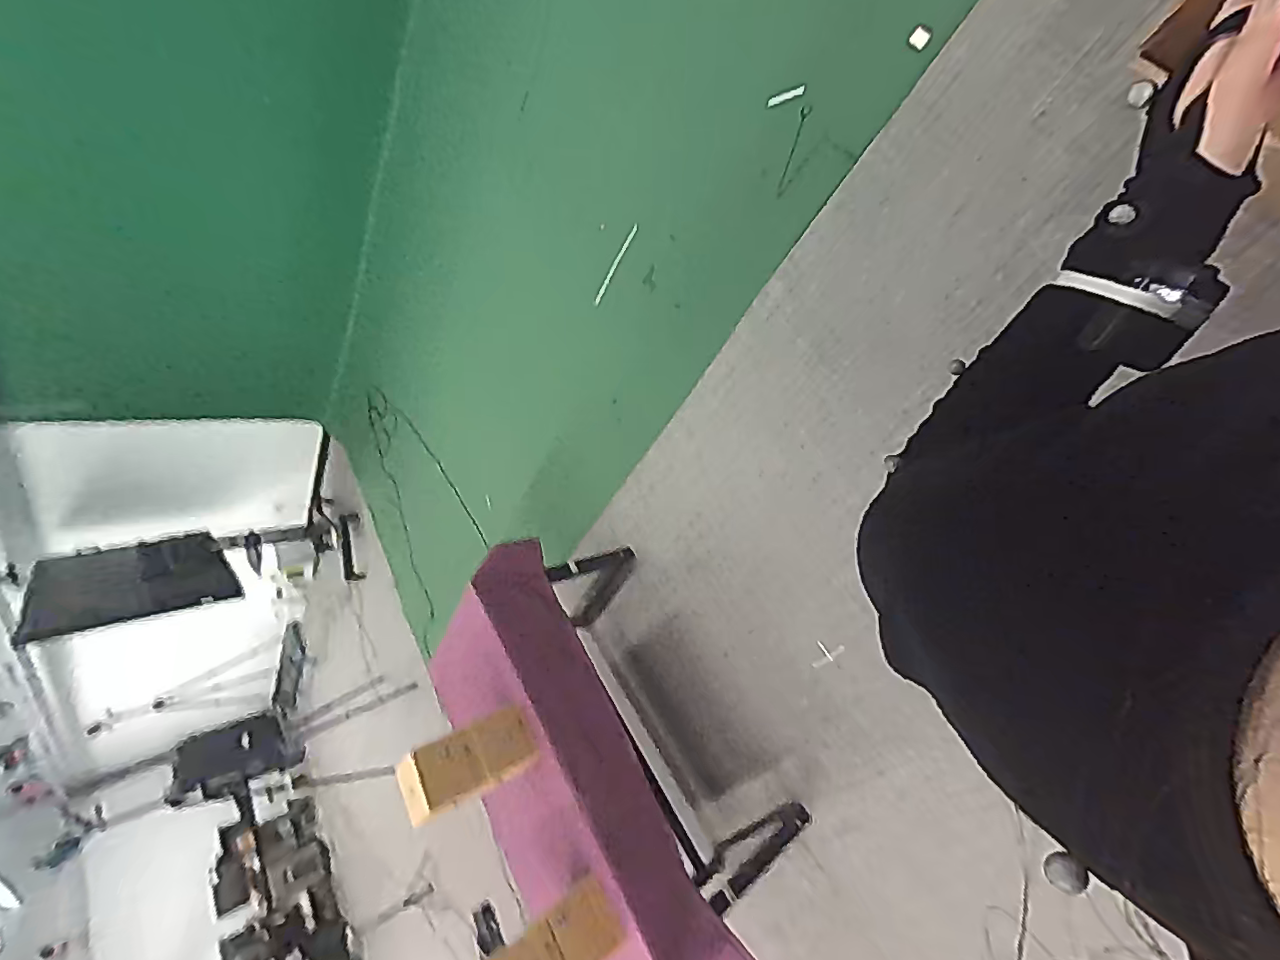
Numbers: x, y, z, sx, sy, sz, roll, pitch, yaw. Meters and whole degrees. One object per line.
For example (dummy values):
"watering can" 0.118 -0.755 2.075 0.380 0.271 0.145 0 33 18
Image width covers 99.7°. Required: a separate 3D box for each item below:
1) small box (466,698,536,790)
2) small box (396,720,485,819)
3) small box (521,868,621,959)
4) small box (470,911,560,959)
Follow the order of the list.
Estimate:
"small box" -0.432 0.783 1.618 0.168 0.176 0.179 56 131 26
"small box" -0.553 0.800 1.508 0.179 0.176 0.168 -52 59 37
"small box" -0.177 1.158 1.399 0.179 0.176 0.168 54 130 29
"small box" -0.295 1.178 1.287 0.168 0.176 0.179 54 129 29
